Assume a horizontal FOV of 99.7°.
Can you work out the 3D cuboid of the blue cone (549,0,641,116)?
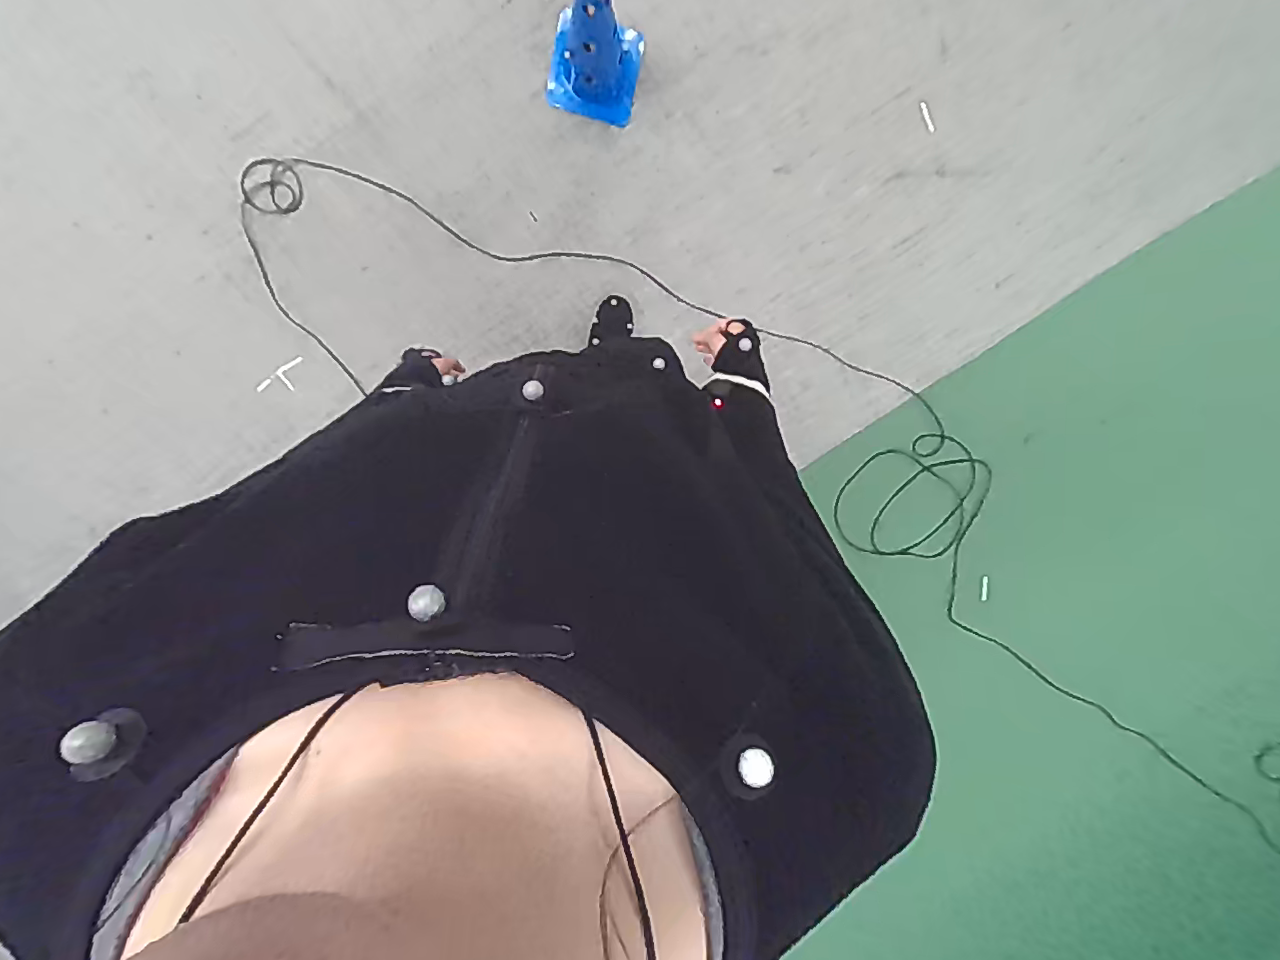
[{"bbox_3d":[-0.092,-0.900,1.059,0.192,0.380,0.193,11,103,-7],"label":"blue cone"}]
